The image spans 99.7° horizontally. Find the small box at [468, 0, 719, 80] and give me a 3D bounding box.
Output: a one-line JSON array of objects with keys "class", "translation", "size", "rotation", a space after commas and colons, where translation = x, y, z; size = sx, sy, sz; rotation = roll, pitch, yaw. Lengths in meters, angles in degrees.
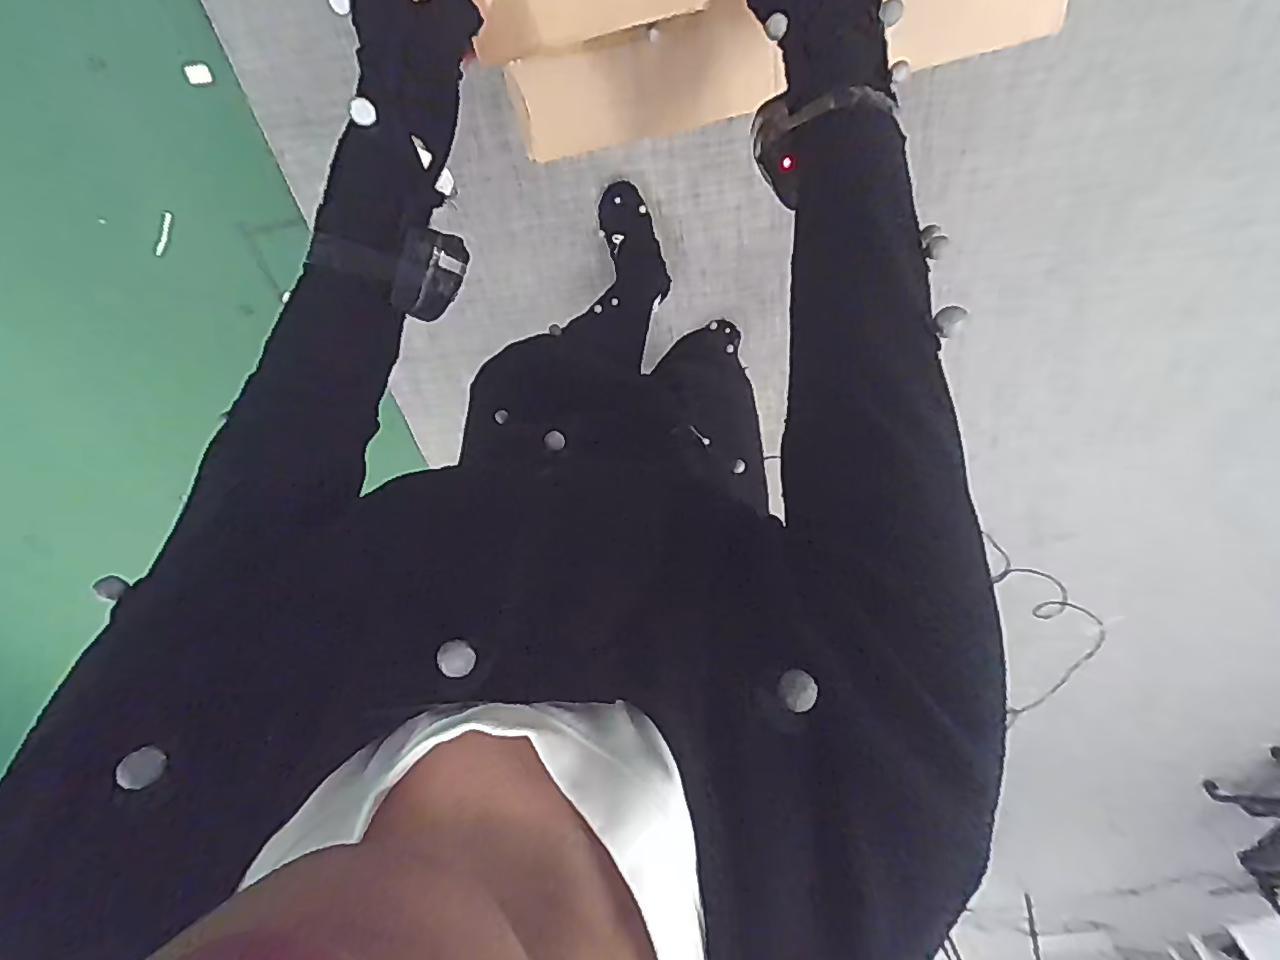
[{"class": "small box", "translation": [-0.043, -0.430, 0.409], "size": [0.179, 0.176, 0.168], "rotation": [-9, 129, 10]}]
